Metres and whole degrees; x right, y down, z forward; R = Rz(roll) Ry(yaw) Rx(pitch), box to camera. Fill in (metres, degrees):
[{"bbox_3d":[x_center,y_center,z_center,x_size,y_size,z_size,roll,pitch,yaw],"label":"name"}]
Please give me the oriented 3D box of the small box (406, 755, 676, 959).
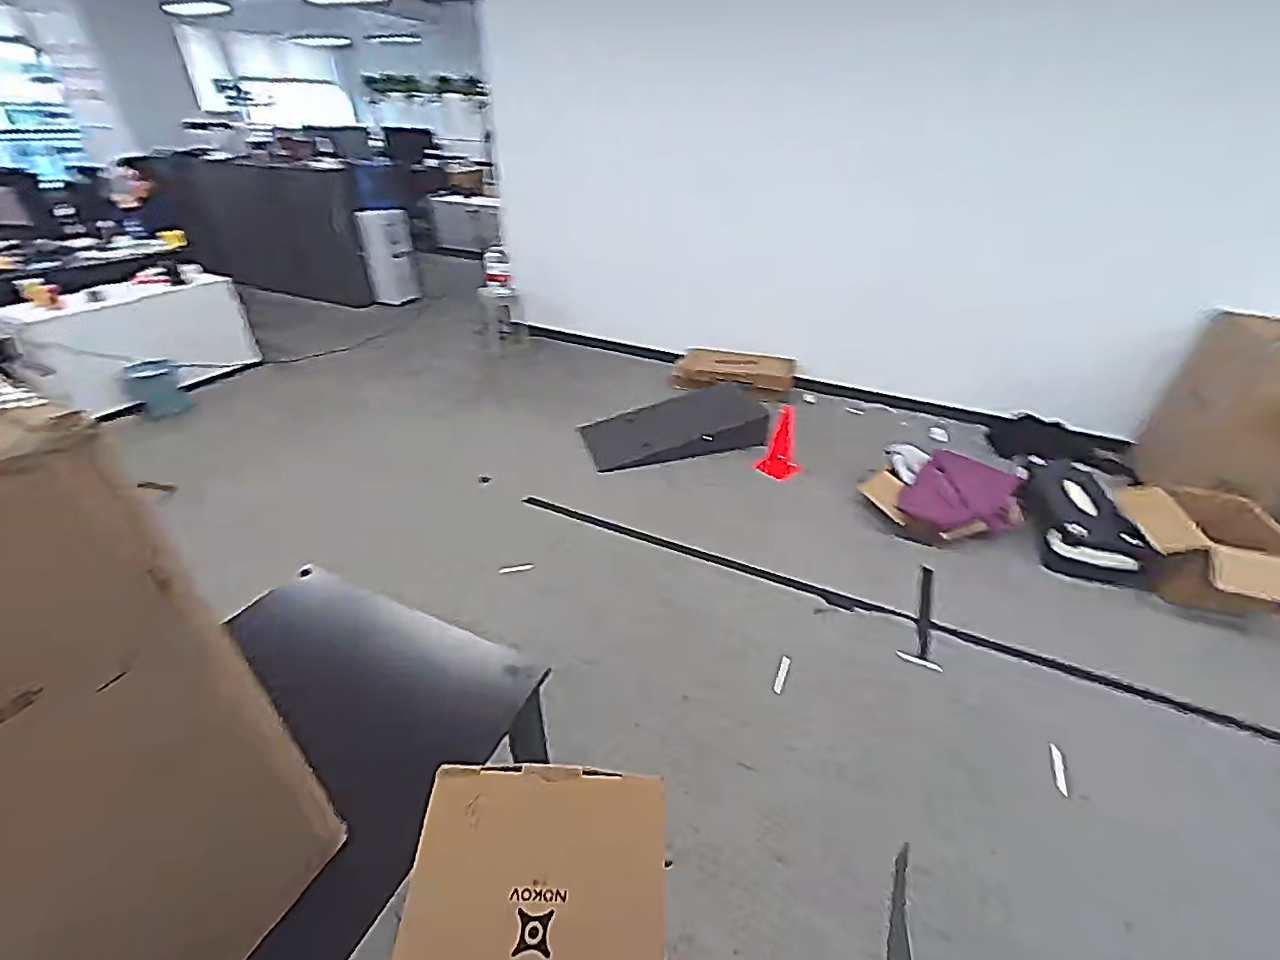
[{"bbox_3d":[-0.064,0.325,0.406,0.168,0.176,0.179,4,51,-1],"label":"small box"}]
